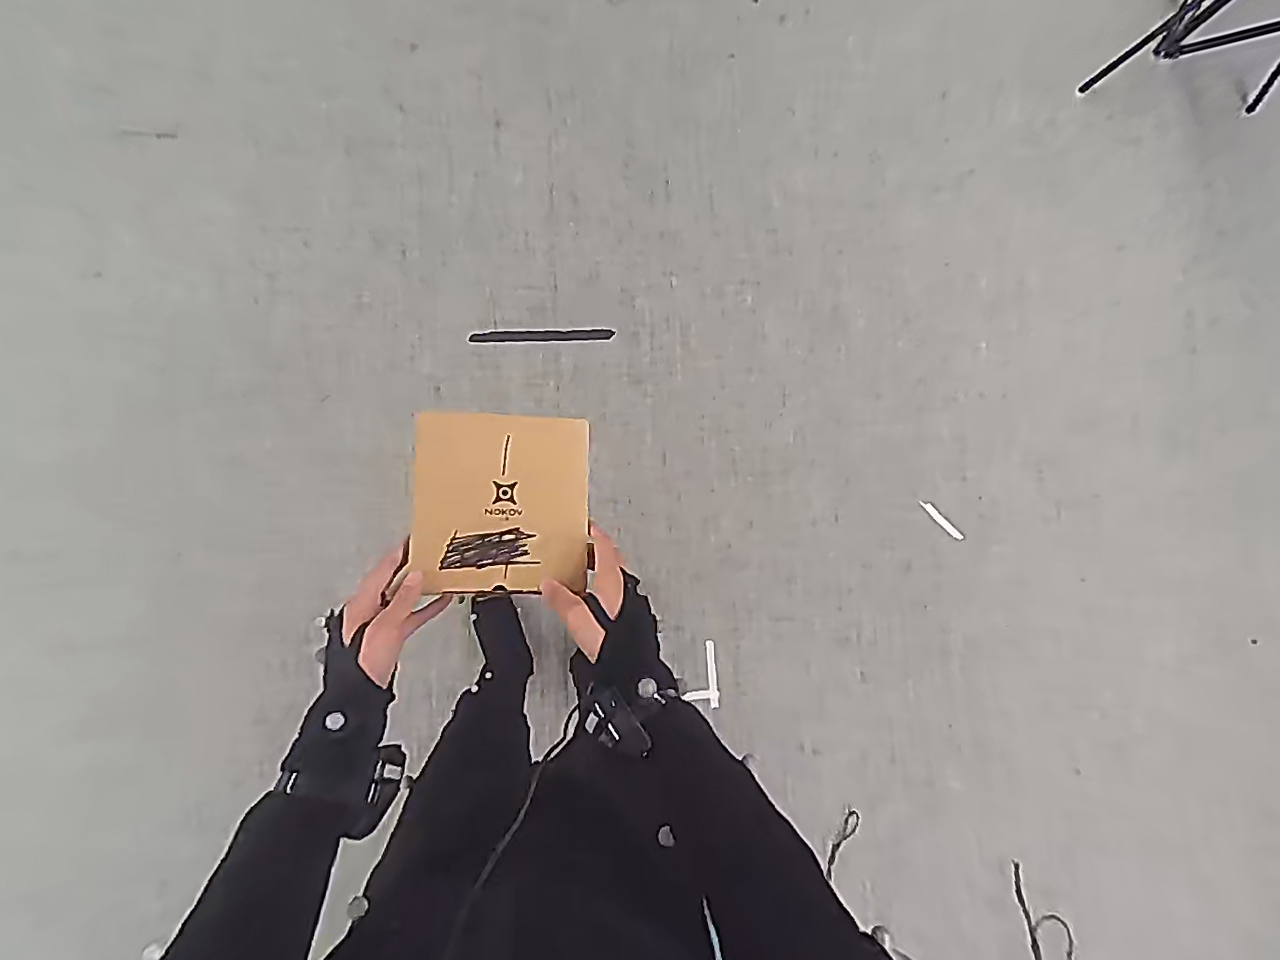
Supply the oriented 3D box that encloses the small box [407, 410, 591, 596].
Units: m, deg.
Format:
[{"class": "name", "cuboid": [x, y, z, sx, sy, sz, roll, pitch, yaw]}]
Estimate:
[{"class": "small box", "cuboid": [-0.146, 0.036, 0.596, 0.168, 0.176, 0.179, 3, 79, -12]}]
